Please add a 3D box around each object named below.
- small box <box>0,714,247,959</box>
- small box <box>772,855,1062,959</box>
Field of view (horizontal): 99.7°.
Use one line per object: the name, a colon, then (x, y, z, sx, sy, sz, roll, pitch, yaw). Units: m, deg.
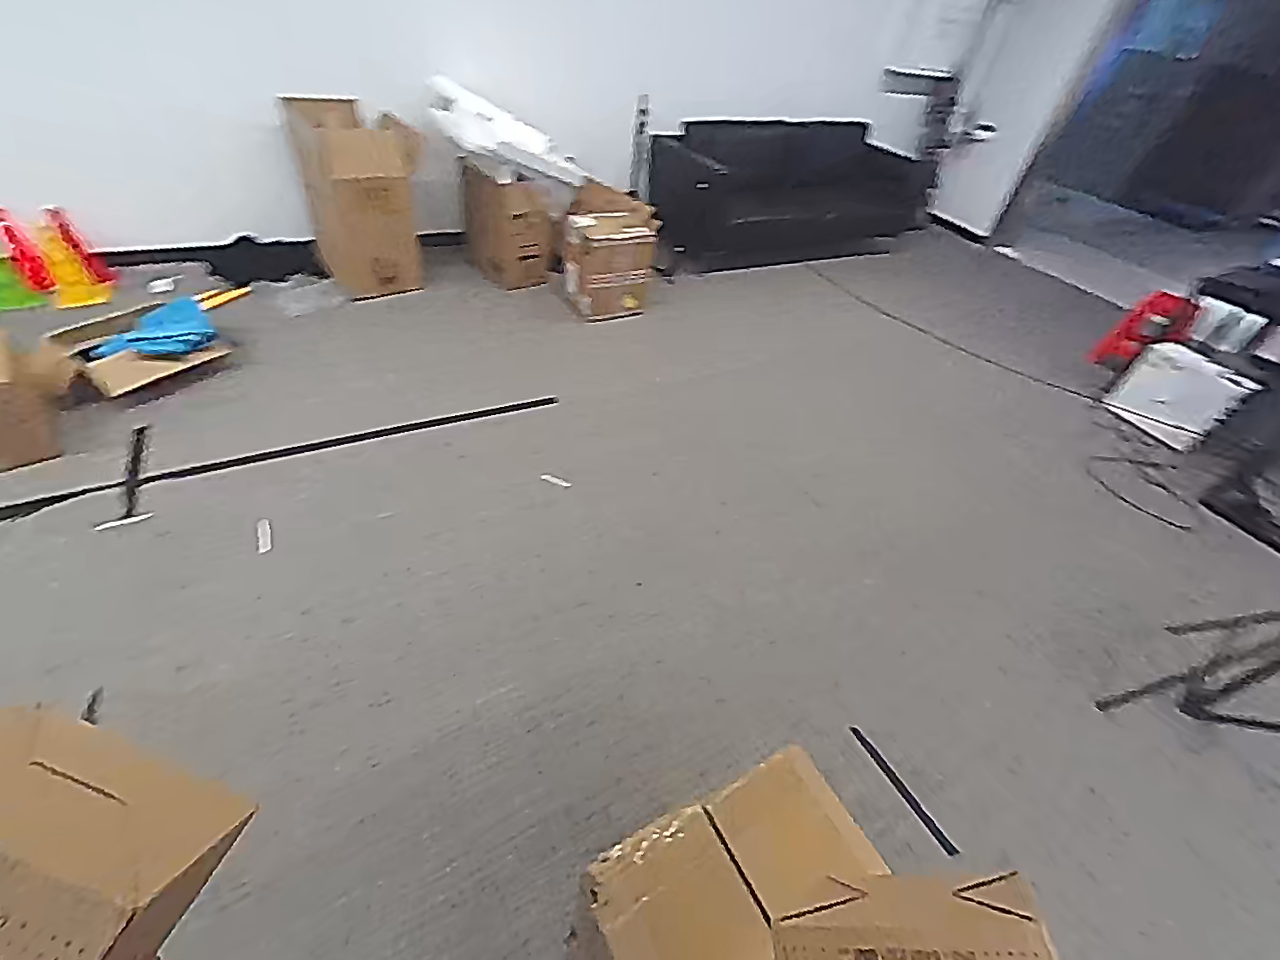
small box: (-0.357, 0.240, 0.275, 0.168, 0.179, 0.176, 32, 66, -7)
small box: (0.206, 0.370, 0.366, 0.168, 0.179, 0.176, -21, 59, 23)
